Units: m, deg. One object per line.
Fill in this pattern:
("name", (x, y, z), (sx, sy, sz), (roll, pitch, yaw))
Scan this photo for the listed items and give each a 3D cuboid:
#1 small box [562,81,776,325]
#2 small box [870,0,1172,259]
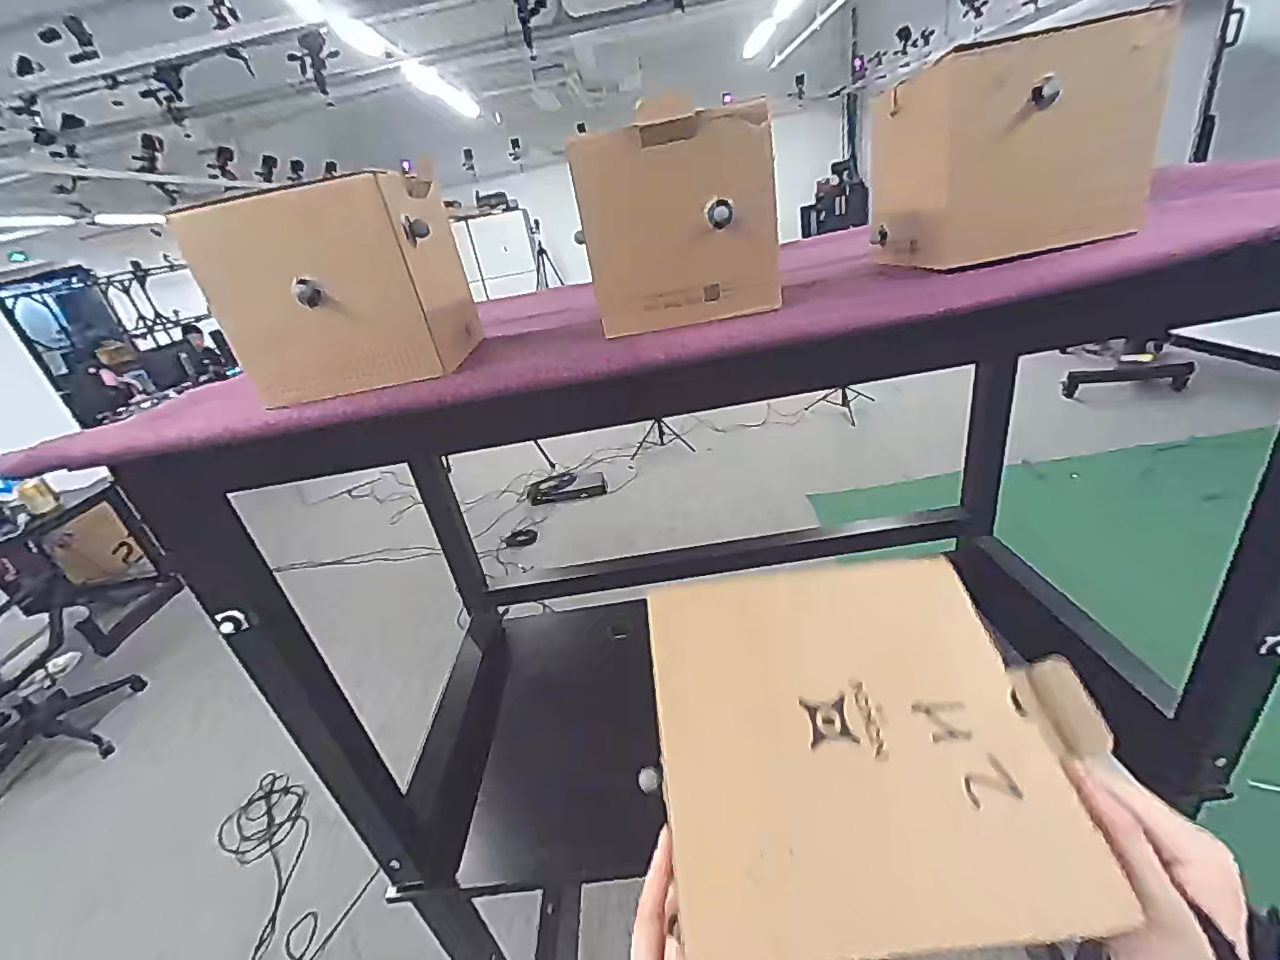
("small box", (0.034, -0.256, 0.529), (0.168, 0.176, 0.179), (-7, 26, 6))
("small box", (0.341, -0.316, 0.518), (0.179, 0.176, 0.168), (-10, 24, 3))
